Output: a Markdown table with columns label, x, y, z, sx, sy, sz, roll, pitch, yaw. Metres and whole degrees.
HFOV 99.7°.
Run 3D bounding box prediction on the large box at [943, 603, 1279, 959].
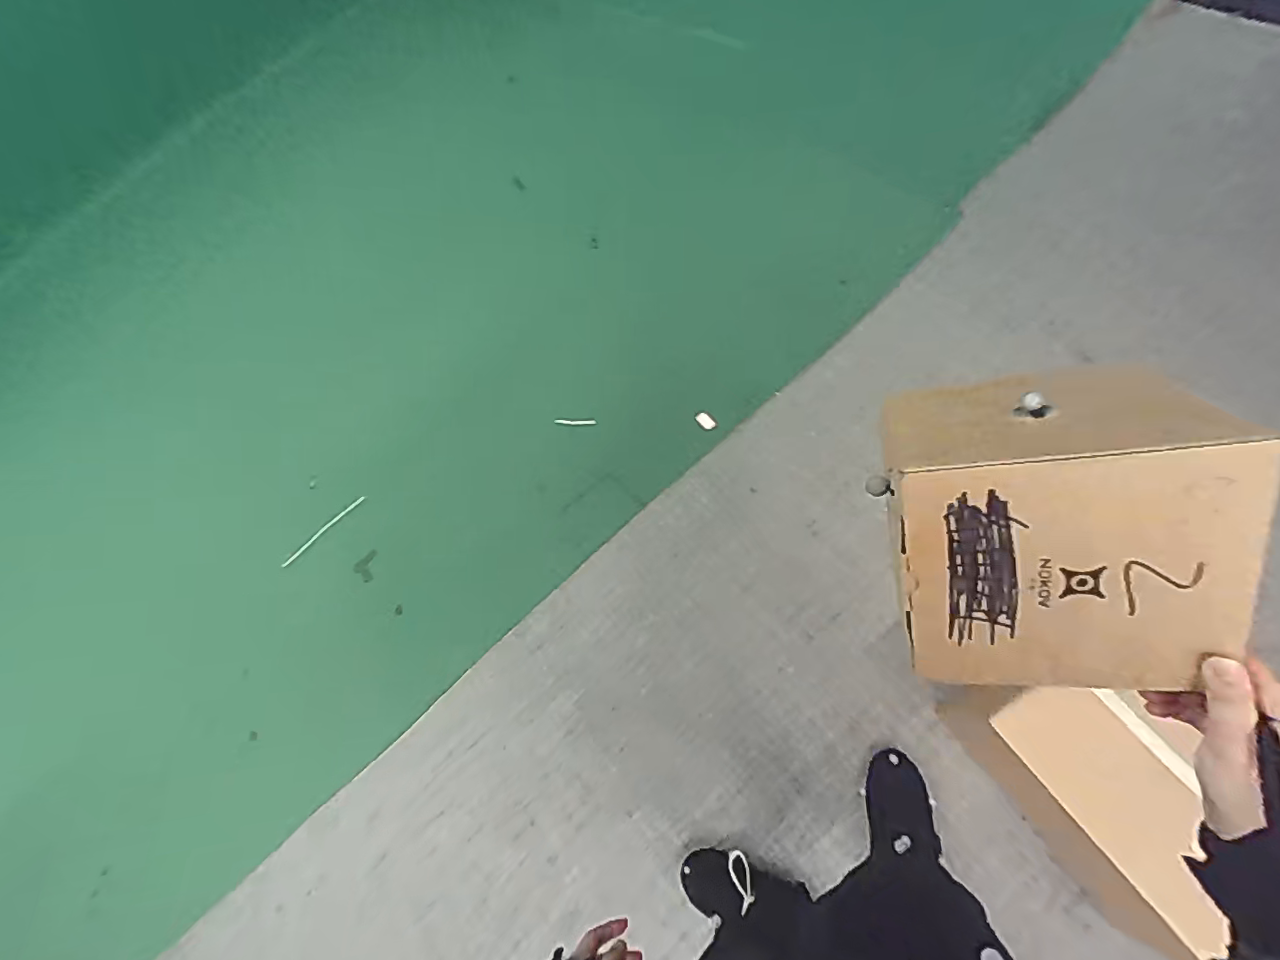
| label | x | y | z | sx | sy | sz | roll | pitch | yaw |
| --- | --- | --- | --- | --- | --- | --- | --- | --- | --- |
| large box | 0.788 | 0.465 | 0.858 | 0.320 | 0.320 | 0.408 | -37 | 65 | 0 |
